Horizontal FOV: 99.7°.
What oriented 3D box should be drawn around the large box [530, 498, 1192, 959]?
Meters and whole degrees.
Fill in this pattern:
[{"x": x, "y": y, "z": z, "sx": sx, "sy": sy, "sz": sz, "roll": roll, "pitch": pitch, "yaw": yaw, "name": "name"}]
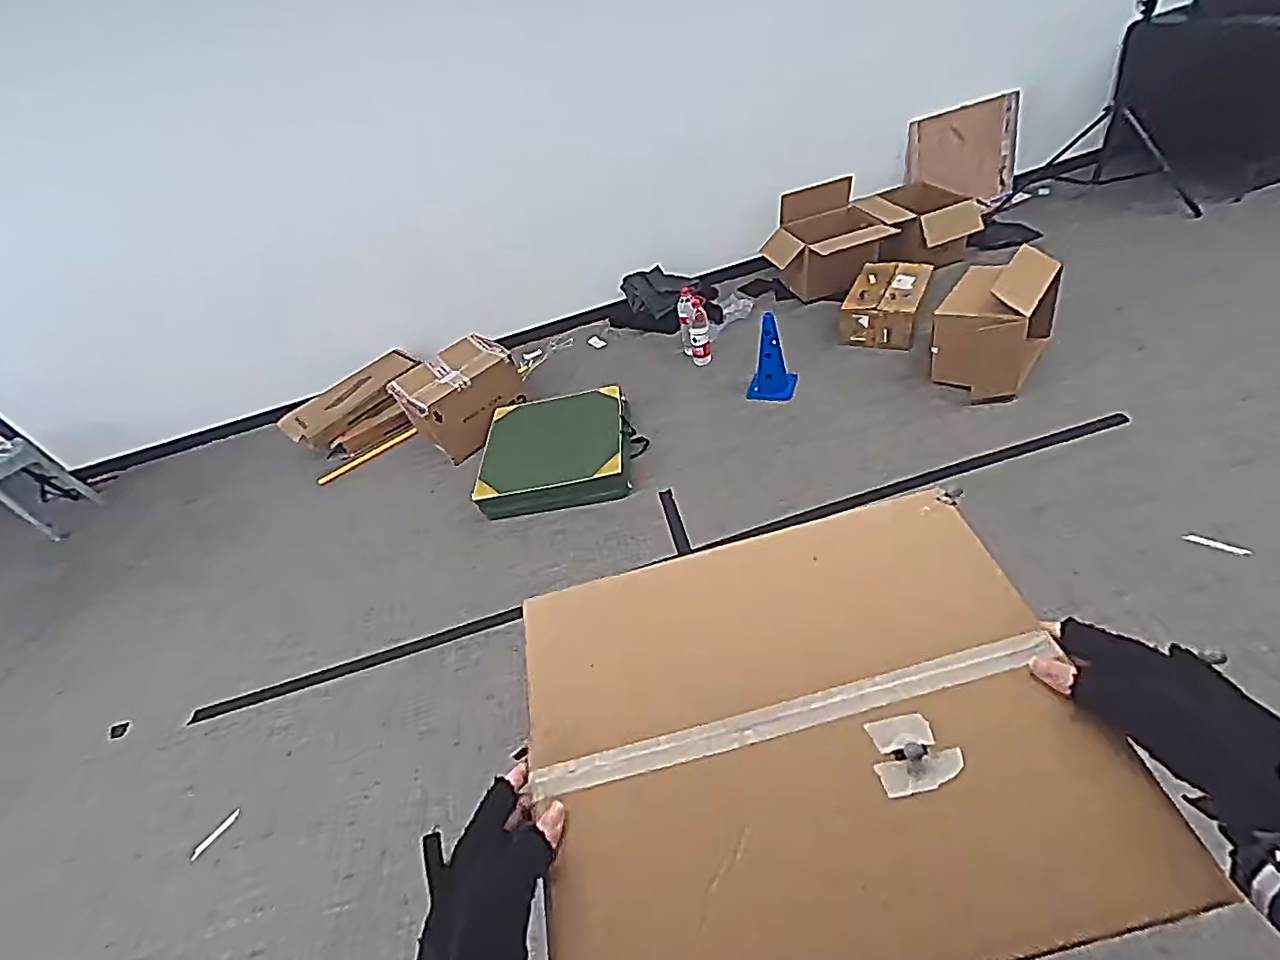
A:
[{"x": 0.141, "y": 0.275, "z": 0.535, "sx": 0.408, "sy": 0.320, "sz": 0.320, "roll": -16, "pitch": 52, "yaw": -1, "name": "large box"}]
